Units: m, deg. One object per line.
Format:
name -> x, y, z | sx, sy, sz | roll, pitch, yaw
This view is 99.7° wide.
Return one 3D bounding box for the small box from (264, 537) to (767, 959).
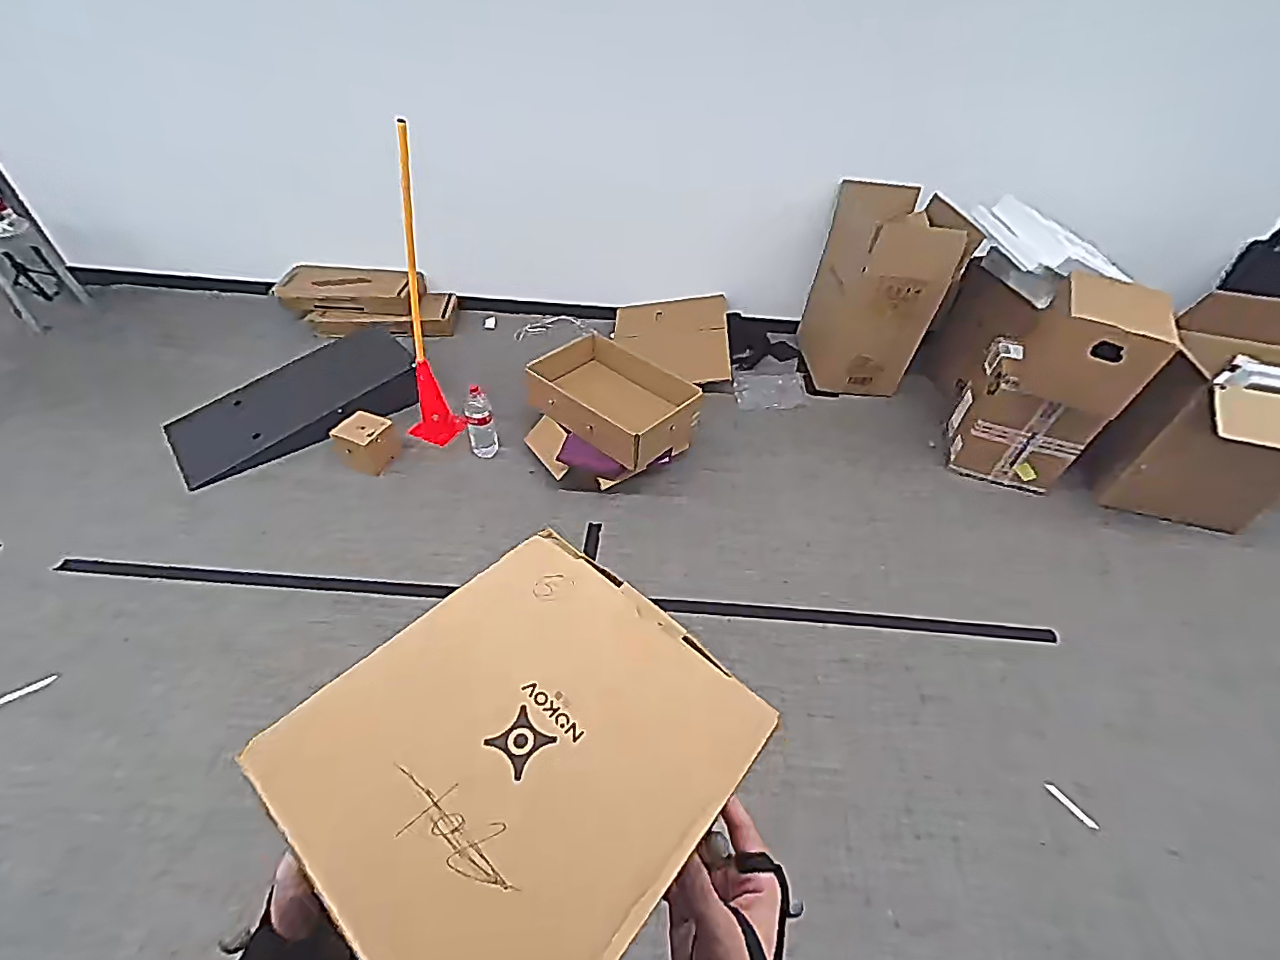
small box -> -0.059, 0.174, 0.311 | 0.168, 0.176, 0.179 | 34, 52, 24
